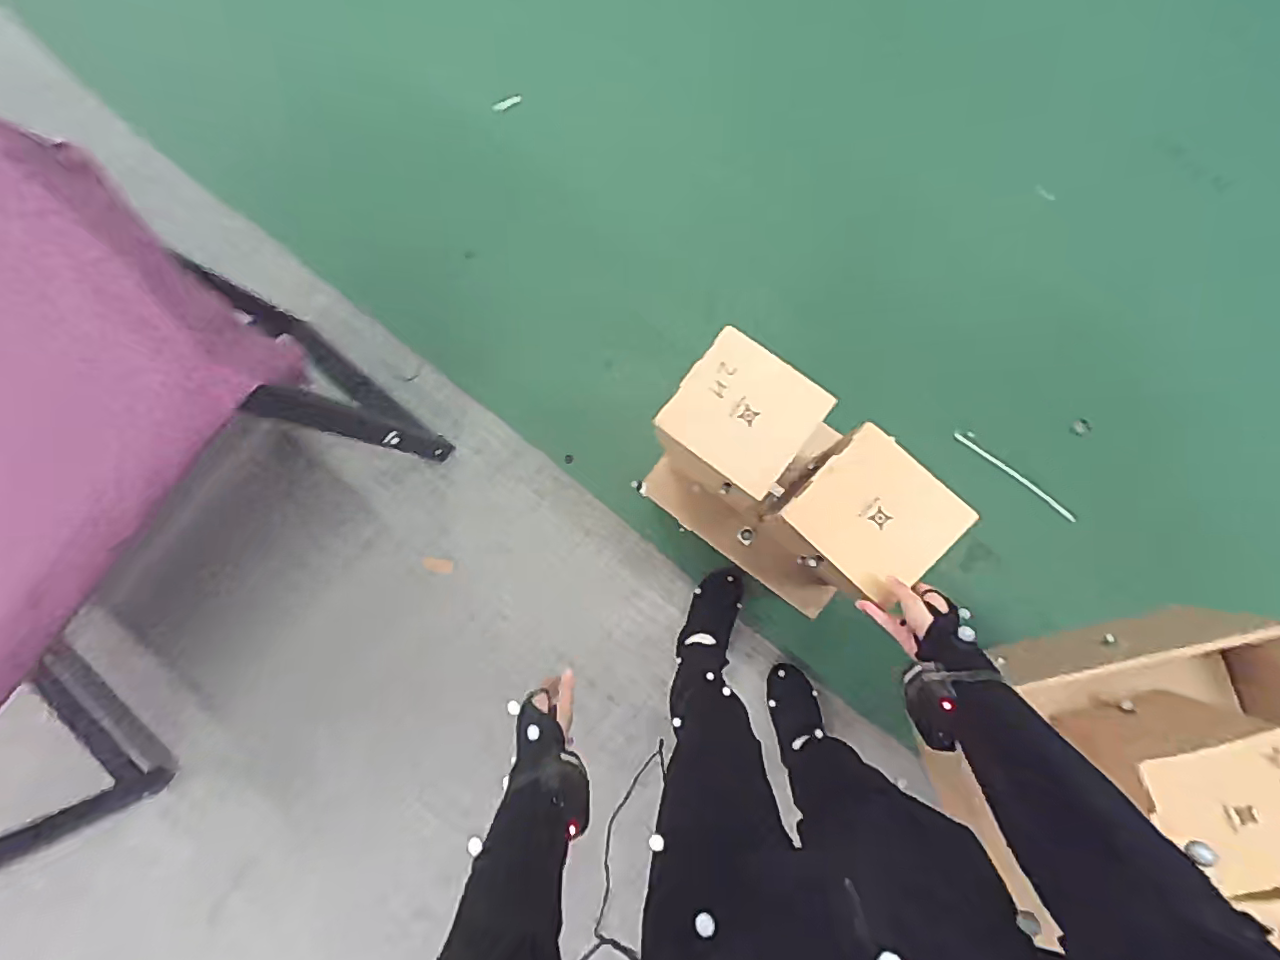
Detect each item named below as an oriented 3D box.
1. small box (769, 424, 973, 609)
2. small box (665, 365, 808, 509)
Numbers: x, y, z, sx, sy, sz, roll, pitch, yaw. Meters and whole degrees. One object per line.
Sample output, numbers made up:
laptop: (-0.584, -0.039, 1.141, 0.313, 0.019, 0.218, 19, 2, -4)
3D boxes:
small box: (0.301, 0.049, 0.750, 0.179, 0.176, 0.168, 44, 91, 10)
small box: (0.161, -0.065, 0.942, 0.168, 0.176, 0.179, 35, 89, 9)
